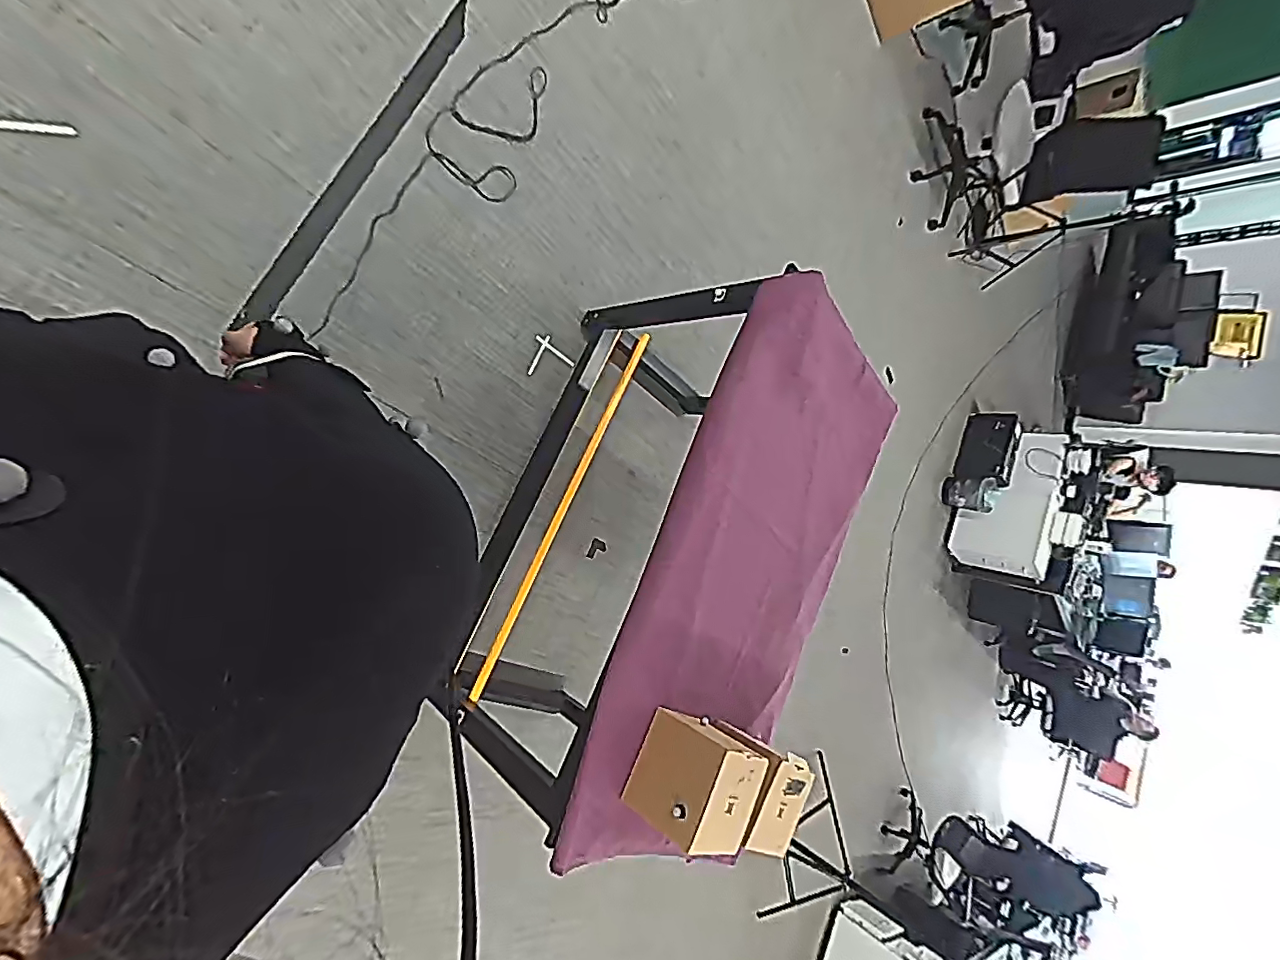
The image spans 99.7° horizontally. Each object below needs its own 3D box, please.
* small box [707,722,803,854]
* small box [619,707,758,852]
[{"bbox_3d":[0.209,0.643,1.141,0.168,0.176,0.179,42,69,-38],"label":"small box"},{"bbox_3d":[0.086,0.555,1.009,0.168,0.176,0.179,39,70,-42],"label":"small box"}]
